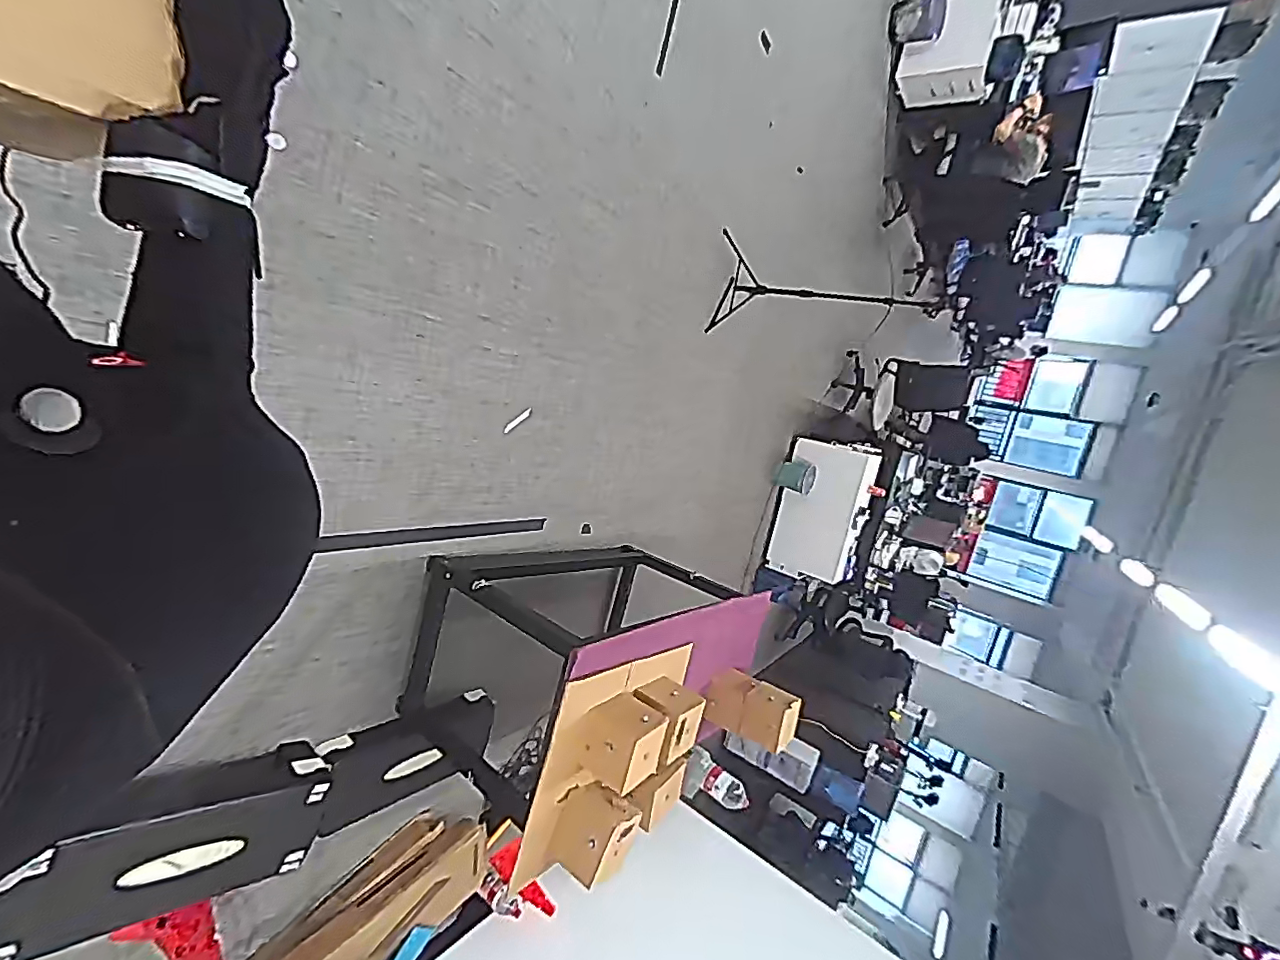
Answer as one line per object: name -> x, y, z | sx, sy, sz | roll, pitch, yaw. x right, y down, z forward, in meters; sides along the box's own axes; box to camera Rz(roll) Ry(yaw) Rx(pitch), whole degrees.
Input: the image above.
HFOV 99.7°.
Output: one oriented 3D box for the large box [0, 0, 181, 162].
large box -> -0.536, -0.406, 0.269 | 0.408, 0.320, 0.320 | -7, 112, -58
